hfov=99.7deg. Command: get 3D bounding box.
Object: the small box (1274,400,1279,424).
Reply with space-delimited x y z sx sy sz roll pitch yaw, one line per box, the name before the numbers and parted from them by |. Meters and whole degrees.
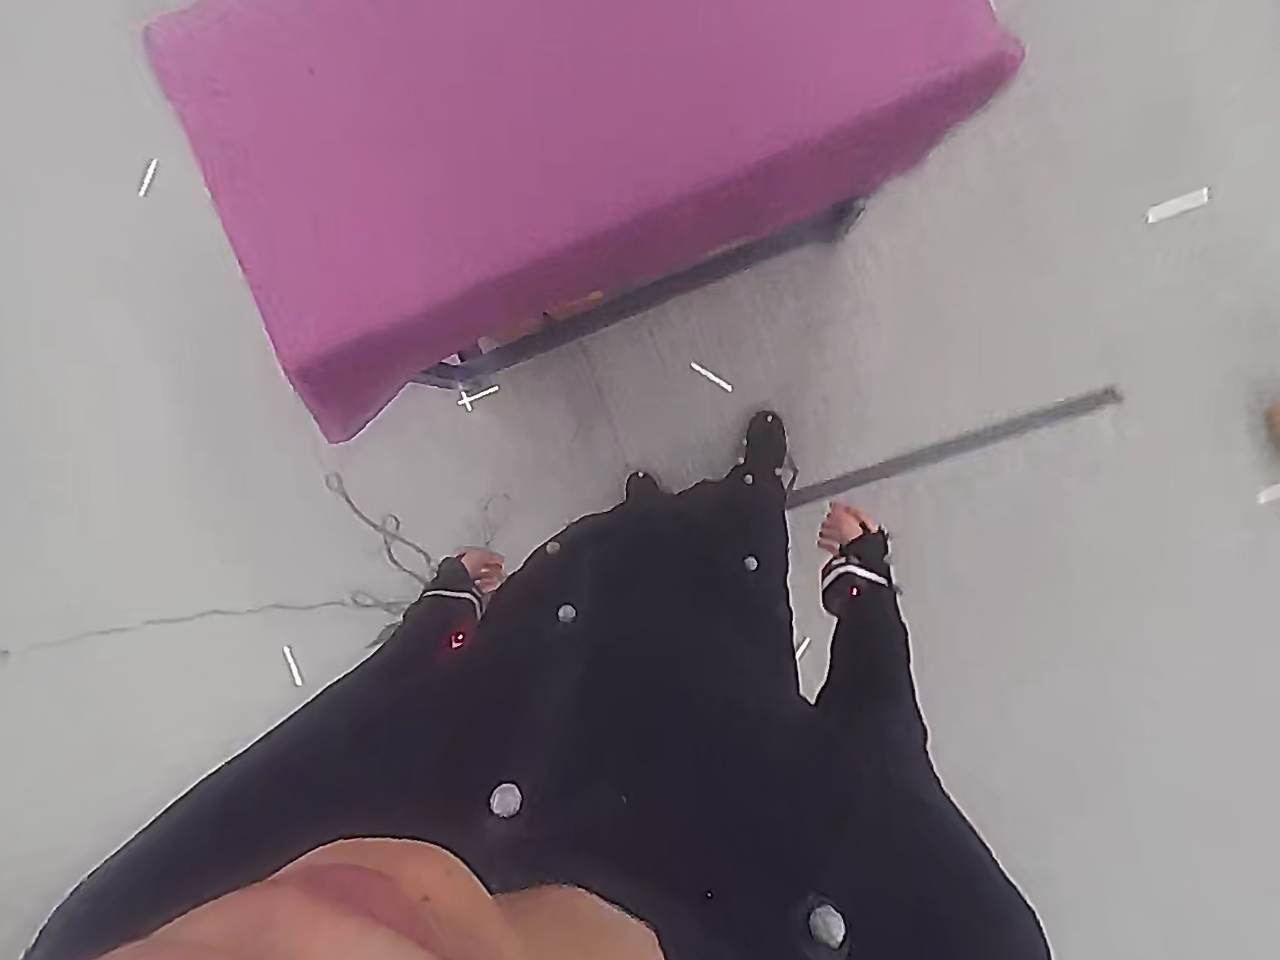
small box | 1.747 -0.157 1.321 0.179 0.176 0.168 -24 92 8
